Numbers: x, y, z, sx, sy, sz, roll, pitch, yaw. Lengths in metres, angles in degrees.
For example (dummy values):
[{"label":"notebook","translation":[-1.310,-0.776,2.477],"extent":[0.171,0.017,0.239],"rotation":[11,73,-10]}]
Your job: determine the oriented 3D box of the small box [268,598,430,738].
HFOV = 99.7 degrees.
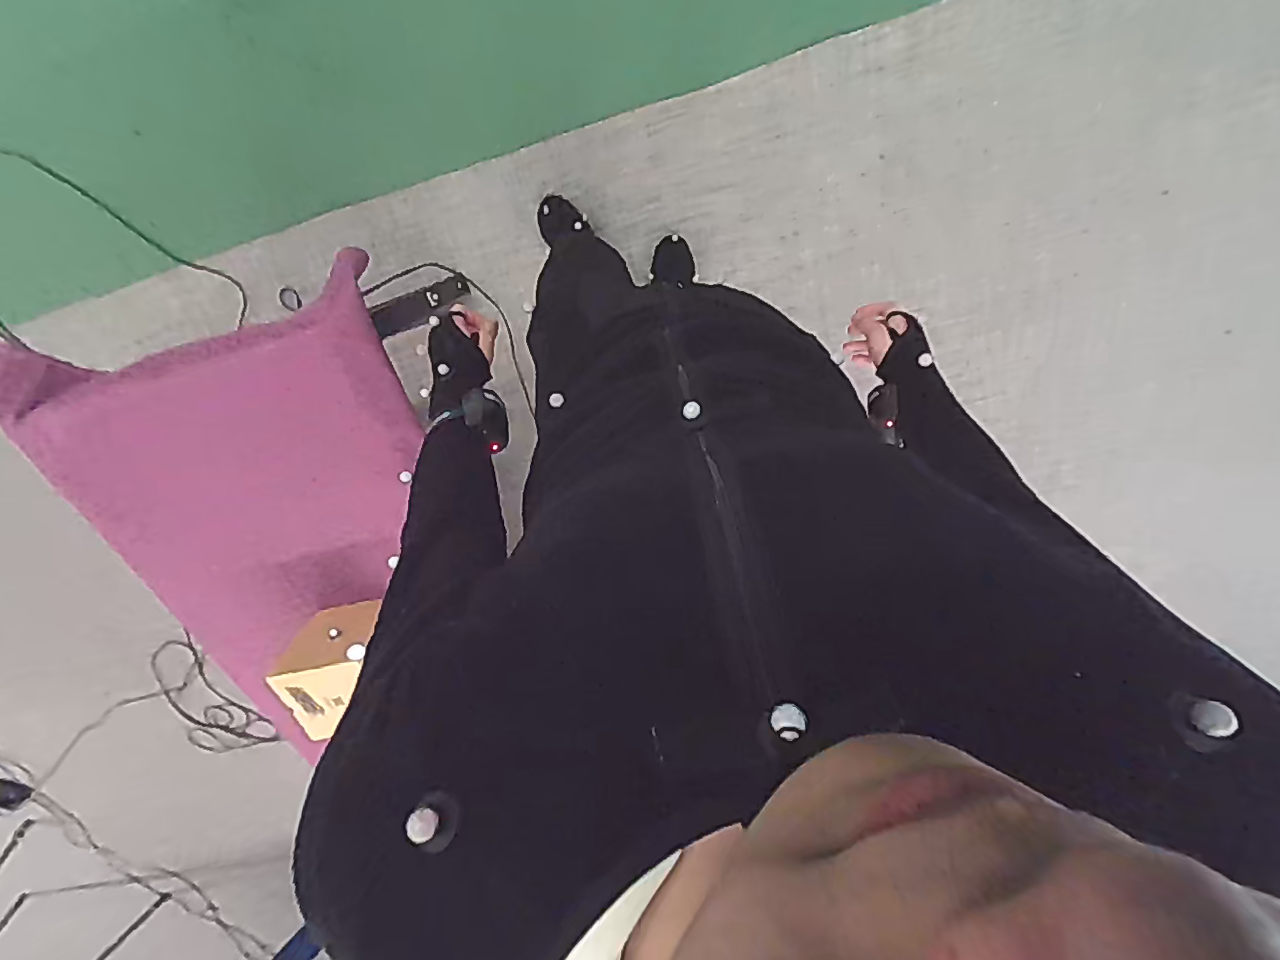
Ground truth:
[{"label":"small box","translation":[-0.530,0.346,1.012],"extent":[0.179,0.176,0.168],"rotation":[-12,117,7]}]
